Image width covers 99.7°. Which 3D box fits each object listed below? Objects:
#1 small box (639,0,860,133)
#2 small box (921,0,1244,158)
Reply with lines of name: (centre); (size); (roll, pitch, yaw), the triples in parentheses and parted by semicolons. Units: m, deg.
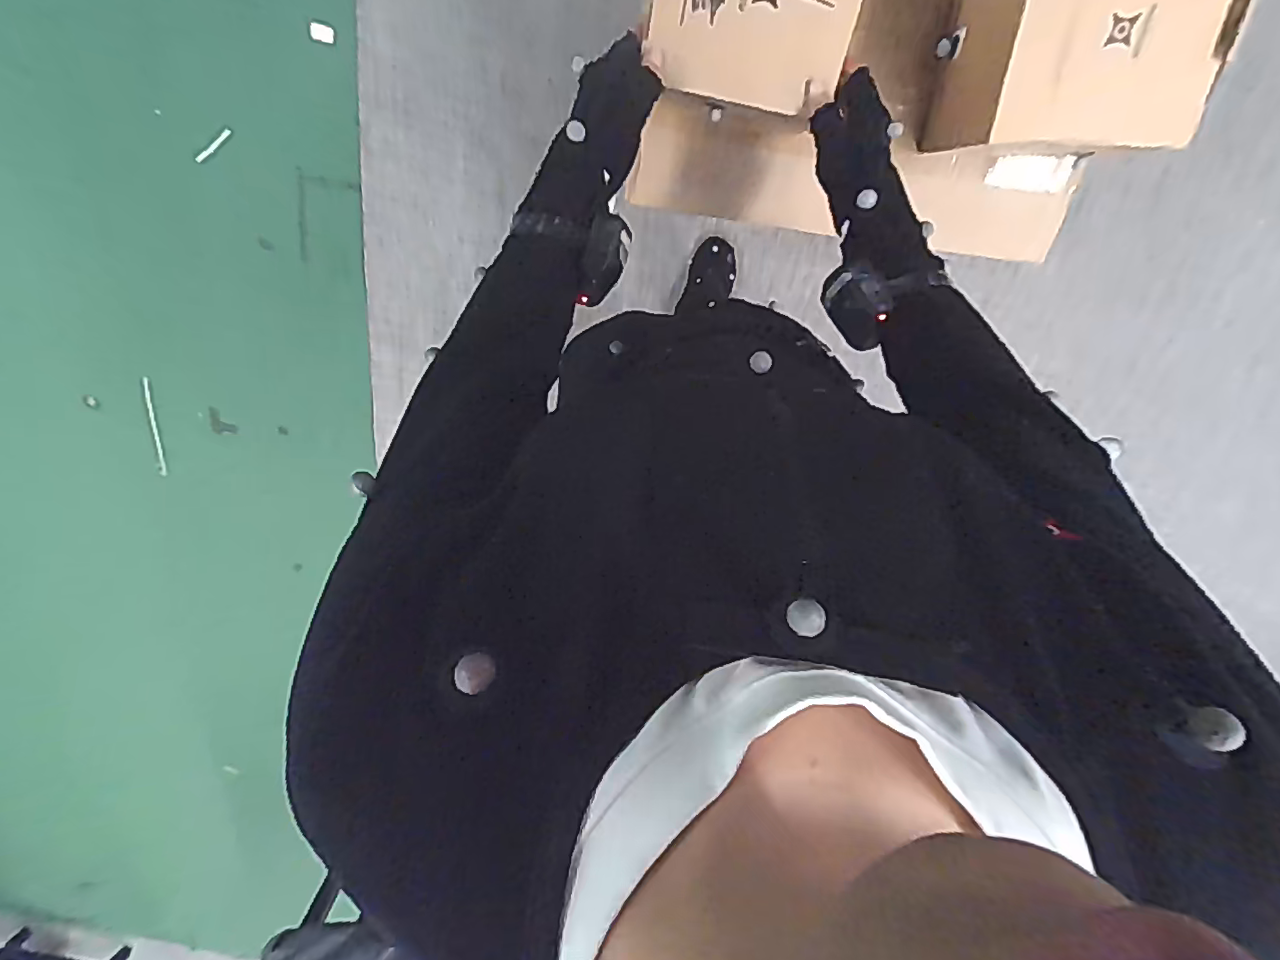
small box: (0.106, -0.451, 0.521); (0.179, 0.176, 0.168); (12, 118, -1)
small box: (0.403, -0.410, 0.515); (0.179, 0.176, 0.168); (3, 118, 5)
